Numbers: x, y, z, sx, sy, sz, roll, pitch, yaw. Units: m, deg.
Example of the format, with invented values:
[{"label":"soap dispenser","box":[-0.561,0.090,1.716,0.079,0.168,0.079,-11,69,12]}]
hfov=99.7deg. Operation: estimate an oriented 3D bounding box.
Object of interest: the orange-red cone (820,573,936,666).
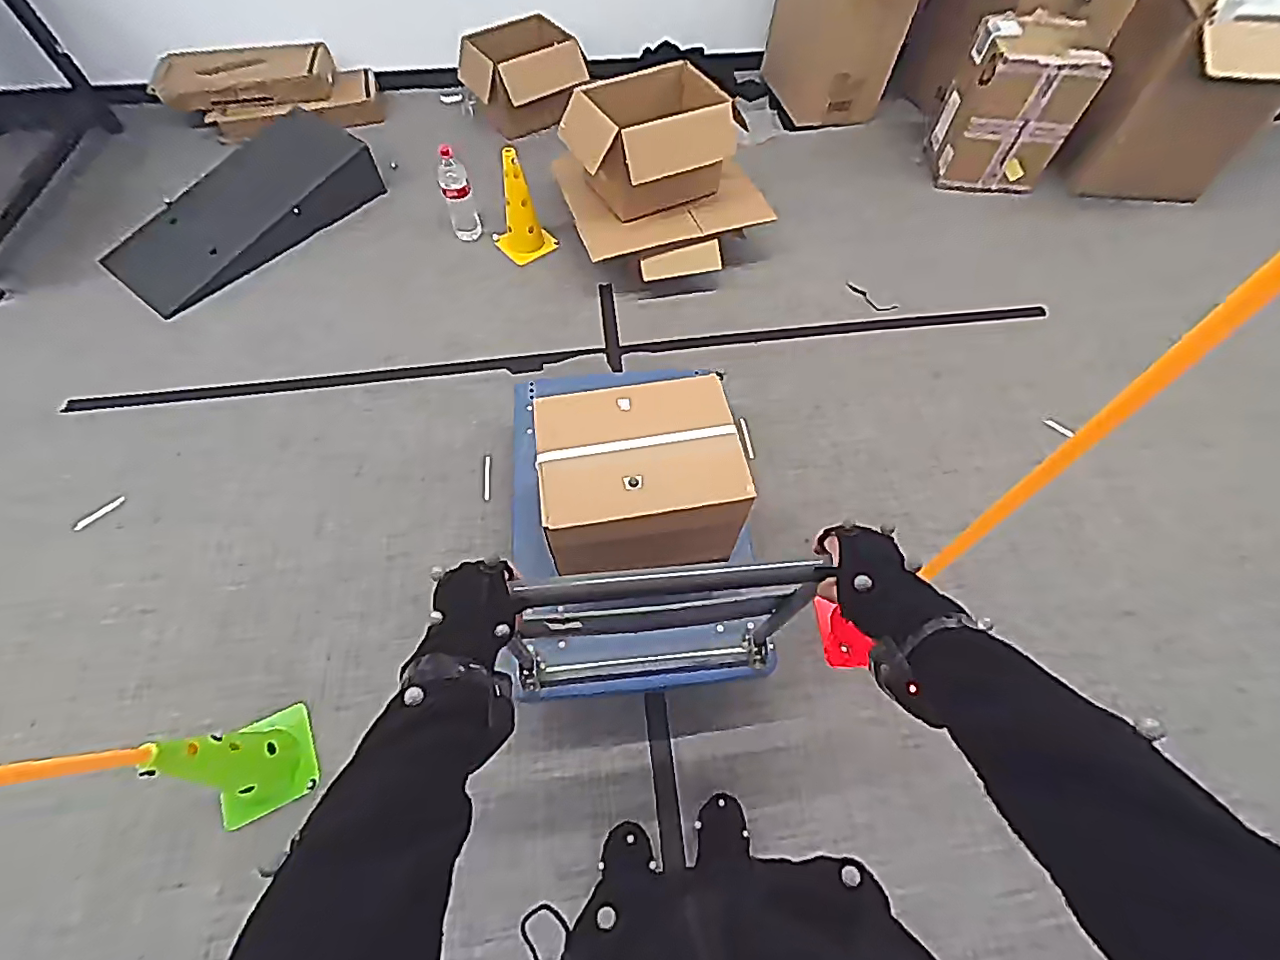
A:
[{"label":"orange-red cone","box":[0.569,0.288,1.227,0.199,0.360,0.198,0,60,-2]}]
